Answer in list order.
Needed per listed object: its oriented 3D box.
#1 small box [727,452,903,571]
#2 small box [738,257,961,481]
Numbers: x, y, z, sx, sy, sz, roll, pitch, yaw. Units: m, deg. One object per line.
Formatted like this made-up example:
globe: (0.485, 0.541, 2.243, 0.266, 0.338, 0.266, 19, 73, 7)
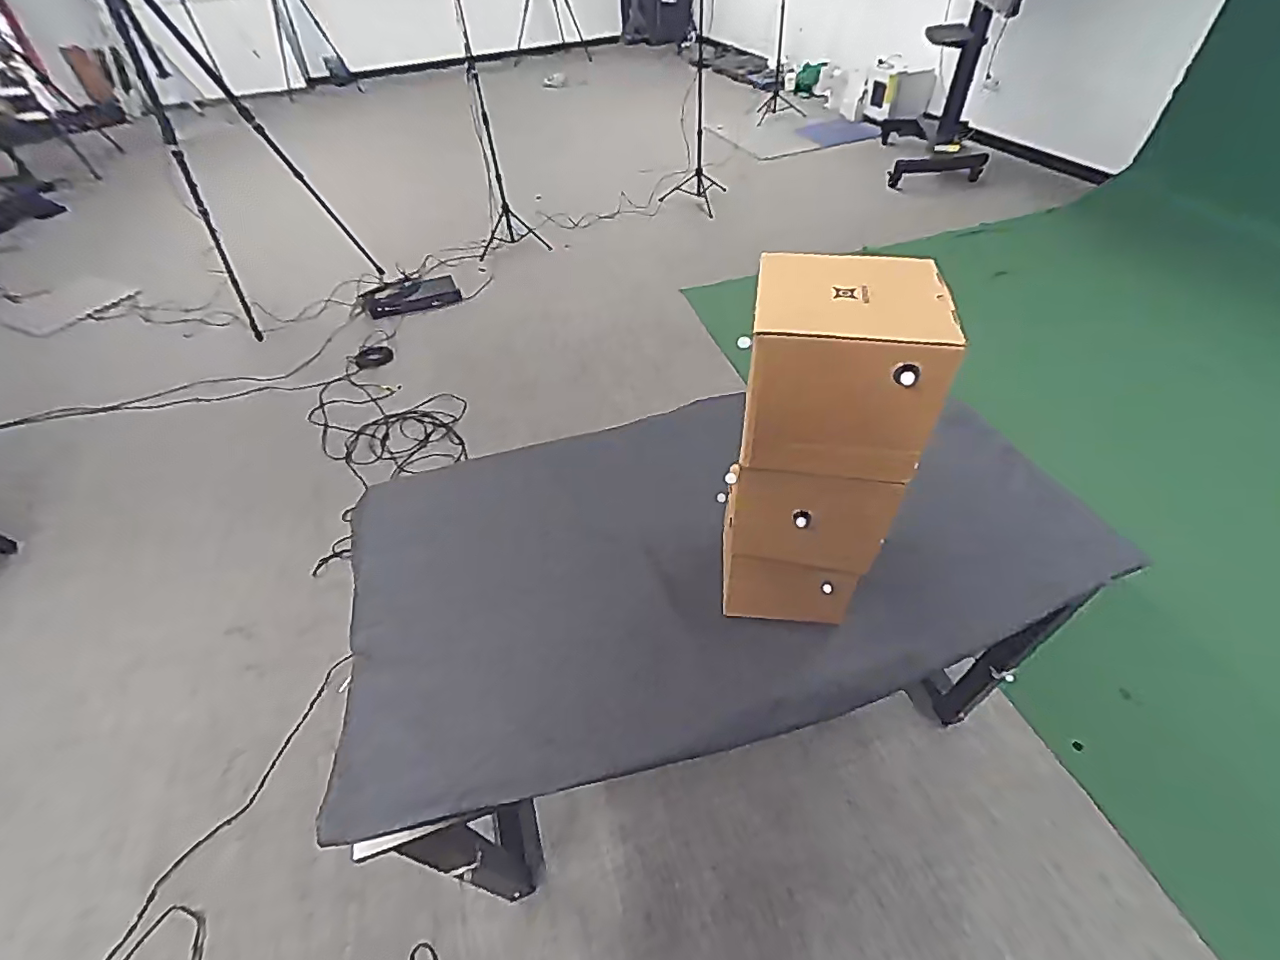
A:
small box: (0.211, -0.004, 0.684, 0.179, 0.176, 0.168, 7, 47, 12)
small box: (0.198, -0.115, 0.566, 0.179, 0.176, 0.168, 6, 47, 9)
